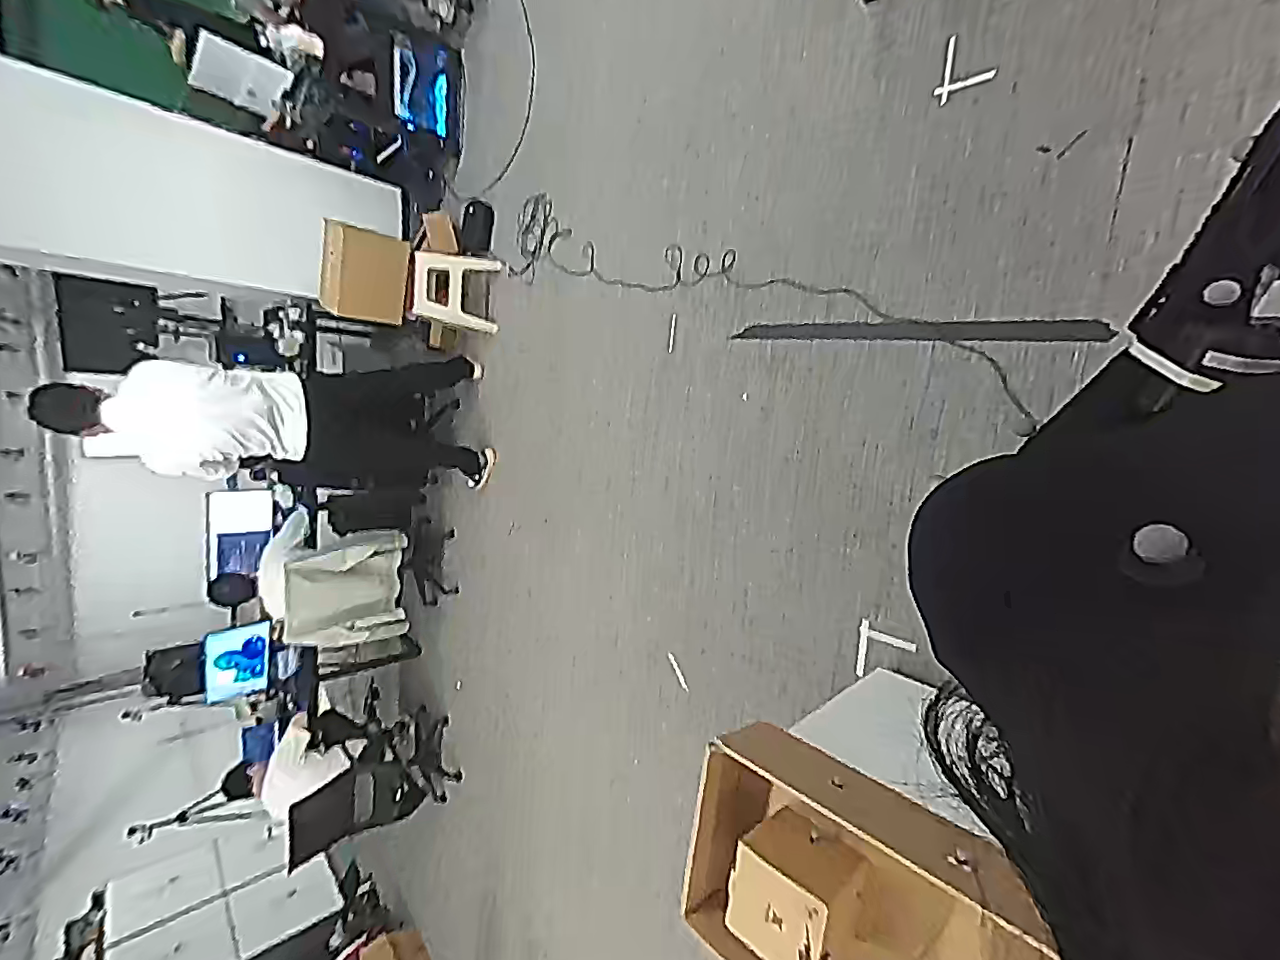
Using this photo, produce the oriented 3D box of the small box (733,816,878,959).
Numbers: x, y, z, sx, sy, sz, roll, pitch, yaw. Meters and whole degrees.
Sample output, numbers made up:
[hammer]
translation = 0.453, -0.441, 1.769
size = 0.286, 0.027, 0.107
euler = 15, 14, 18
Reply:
[small box]
translation = 0.297, 0.745, 0.973
size = 0.179, 0.176, 0.168
euler = 13, 97, 45
